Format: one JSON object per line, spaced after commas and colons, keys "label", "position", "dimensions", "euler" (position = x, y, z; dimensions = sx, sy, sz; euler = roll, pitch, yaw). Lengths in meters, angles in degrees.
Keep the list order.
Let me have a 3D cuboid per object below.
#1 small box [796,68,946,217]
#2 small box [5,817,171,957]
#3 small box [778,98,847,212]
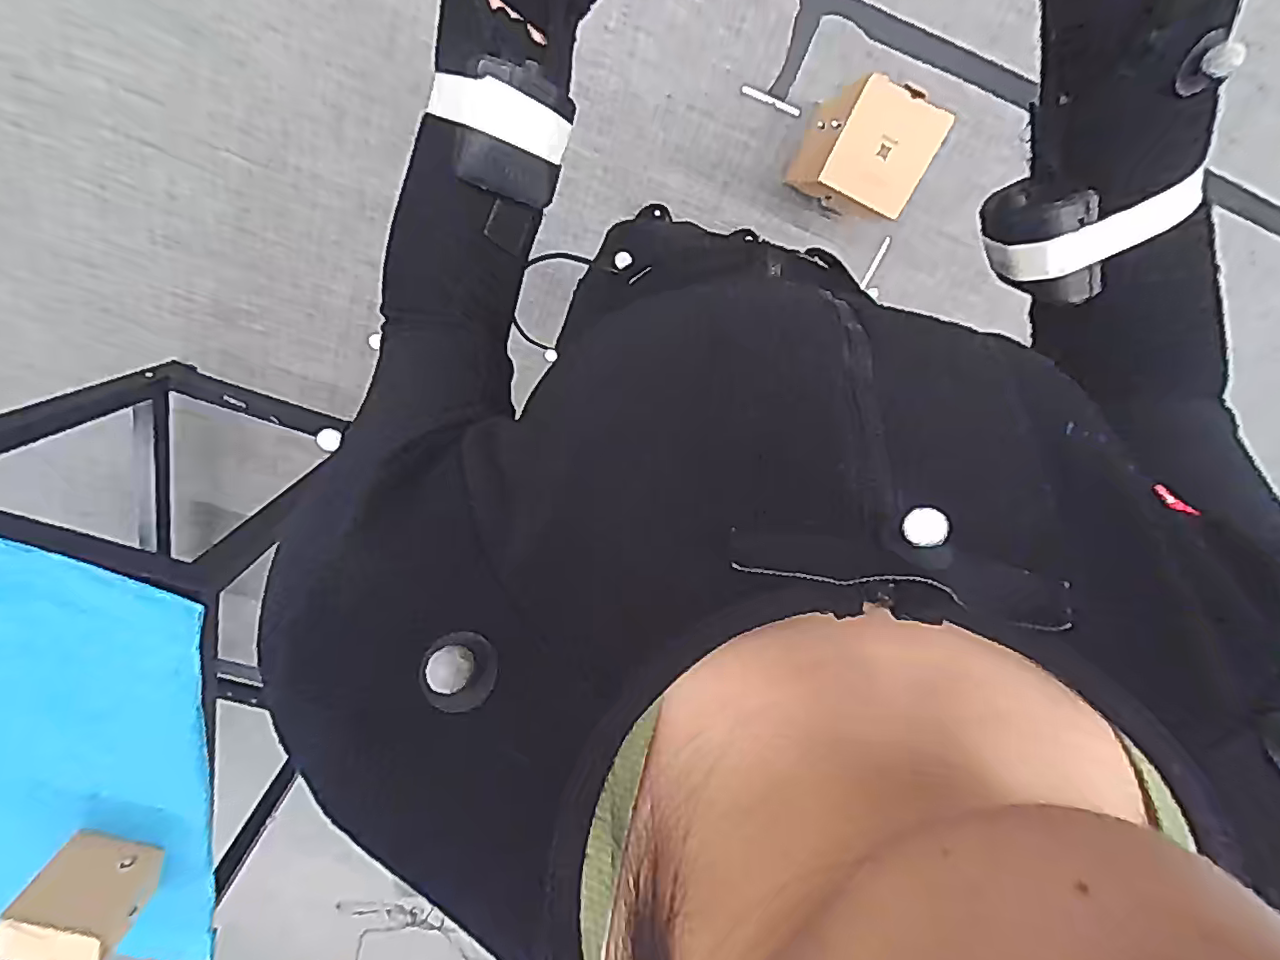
{"label": "small box", "position": [0.415, -0.618, 1.011], "dimensions": [0.168, 0.176, 0.179], "euler": [22, 116, -10]}
{"label": "small box", "position": [-1.135, 0.850, 1.125], "dimensions": [0.179, 0.176, 0.168], "euler": [23, 114, -11]}
{"label": "small box", "position": [0.425, -0.692, 1.155], "dimensions": [0.179, 0.176, 0.168], "euler": [22, 114, -12]}
